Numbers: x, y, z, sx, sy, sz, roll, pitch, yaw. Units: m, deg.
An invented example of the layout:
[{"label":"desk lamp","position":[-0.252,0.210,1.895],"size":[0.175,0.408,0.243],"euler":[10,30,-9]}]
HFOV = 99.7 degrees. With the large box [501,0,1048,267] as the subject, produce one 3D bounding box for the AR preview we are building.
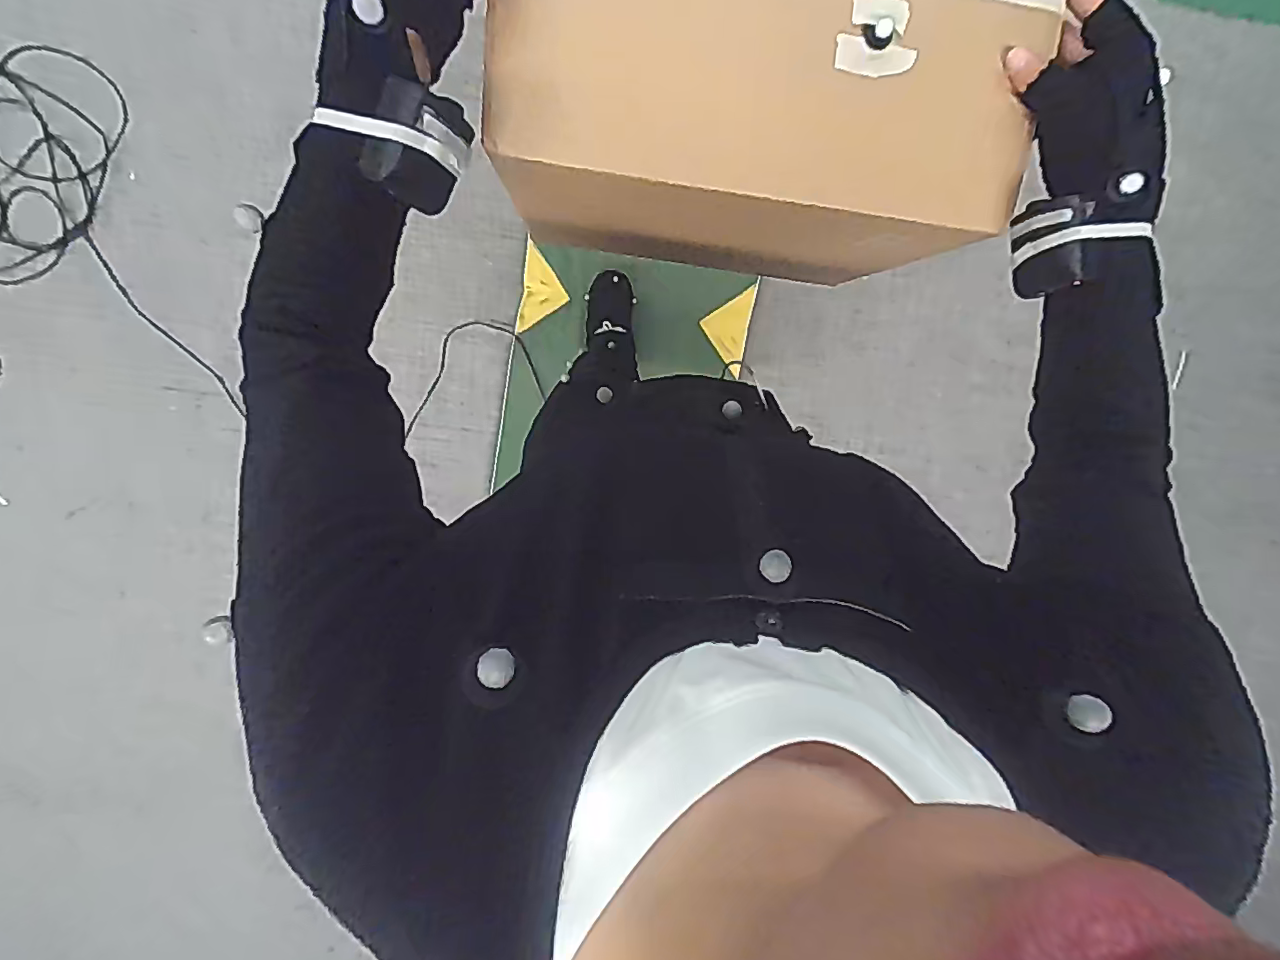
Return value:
[{"label":"large box","position":[0.093,-0.412,0.525],"size":[0.408,0.320,0.320],"euler":[5,103,-7]}]
